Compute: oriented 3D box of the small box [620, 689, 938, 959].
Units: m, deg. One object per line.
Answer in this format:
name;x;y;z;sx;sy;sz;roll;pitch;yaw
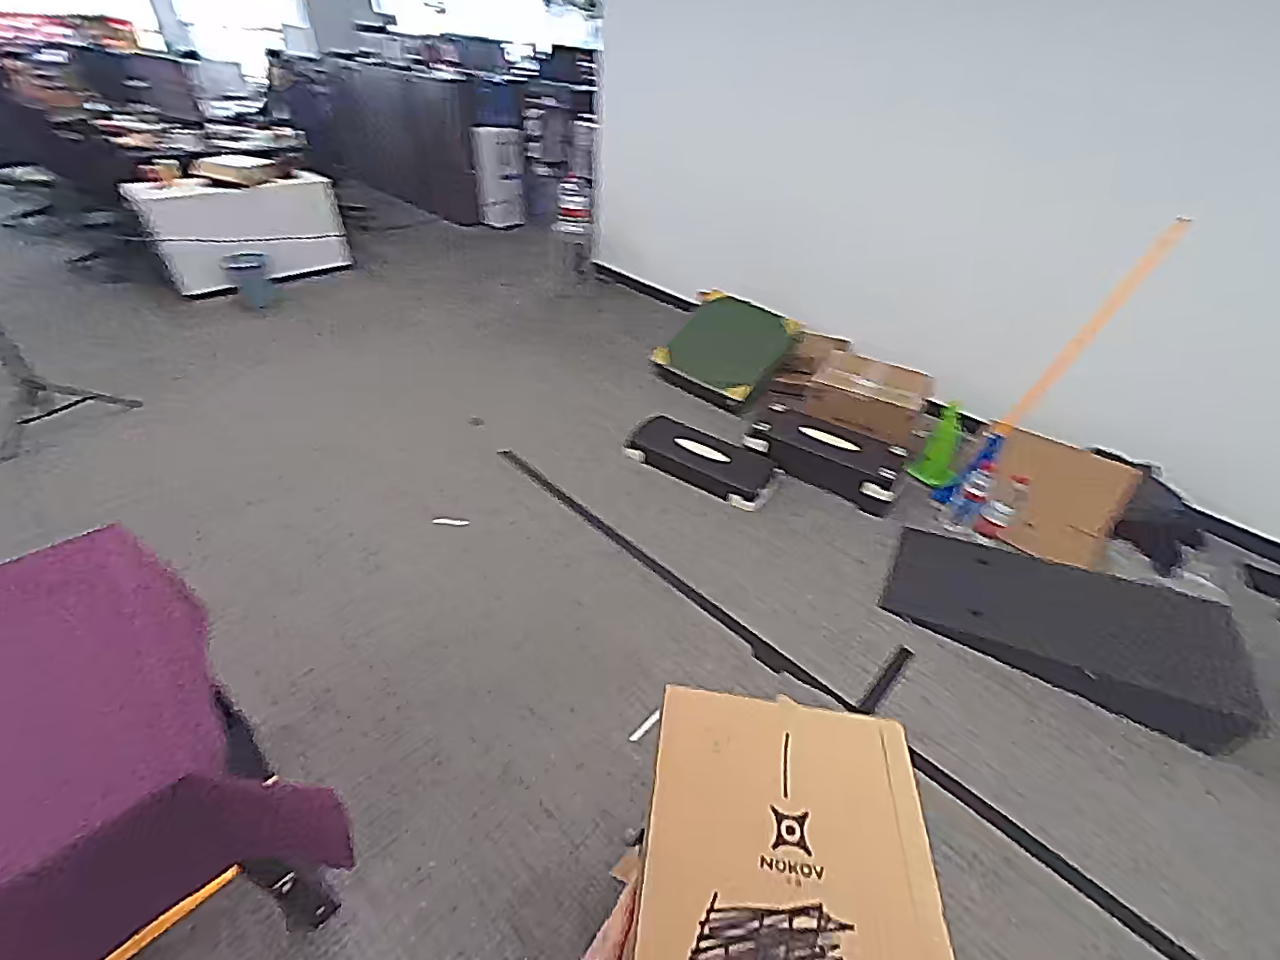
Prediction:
small box;0.077;0.274;0.369;0.168;0.176;0.179;7;42;4
